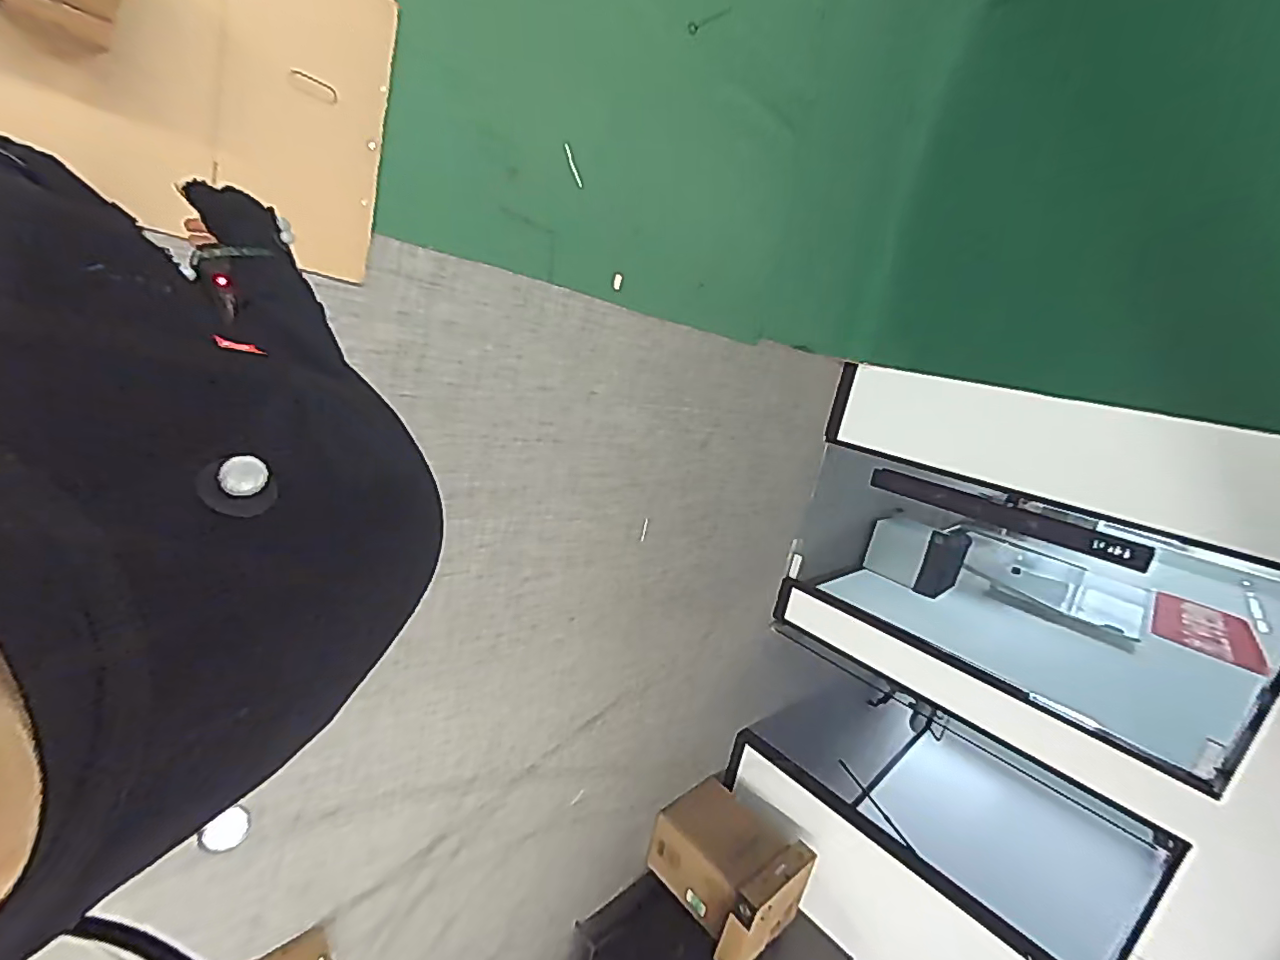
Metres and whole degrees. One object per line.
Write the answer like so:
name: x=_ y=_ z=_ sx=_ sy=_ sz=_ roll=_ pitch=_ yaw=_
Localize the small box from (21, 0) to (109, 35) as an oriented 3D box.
small box: x=-0.893 y=-0.808 z=0.794 sx=0.168 sy=0.176 sz=0.179 roll=4 pitch=105 yaw=-46
